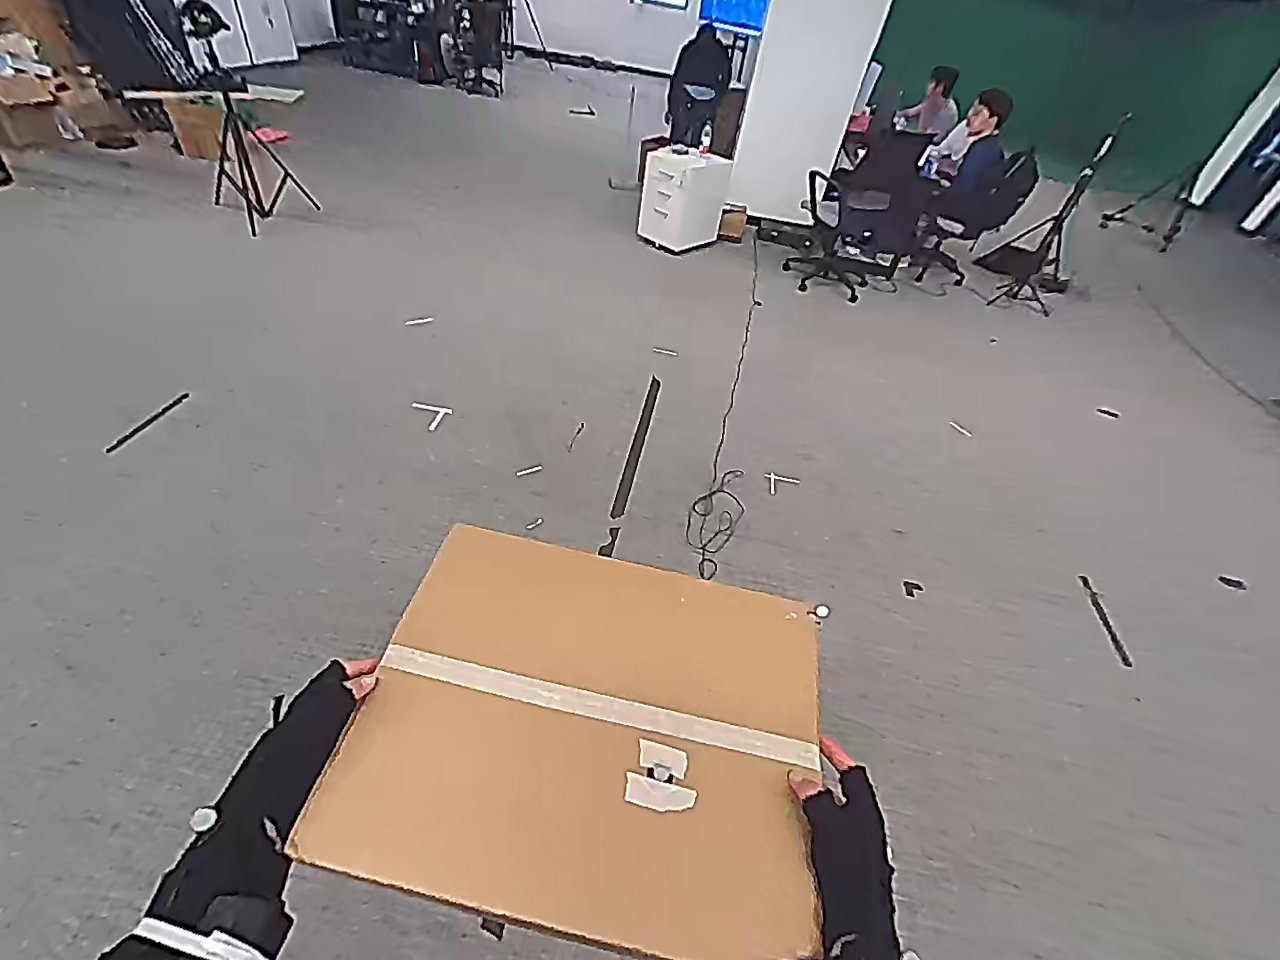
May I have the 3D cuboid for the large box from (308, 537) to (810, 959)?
[{"bbox_3d":[-0.057,0.311,0.619,0.408,0.320,0.320,13,50,3],"label":"large box"}]
